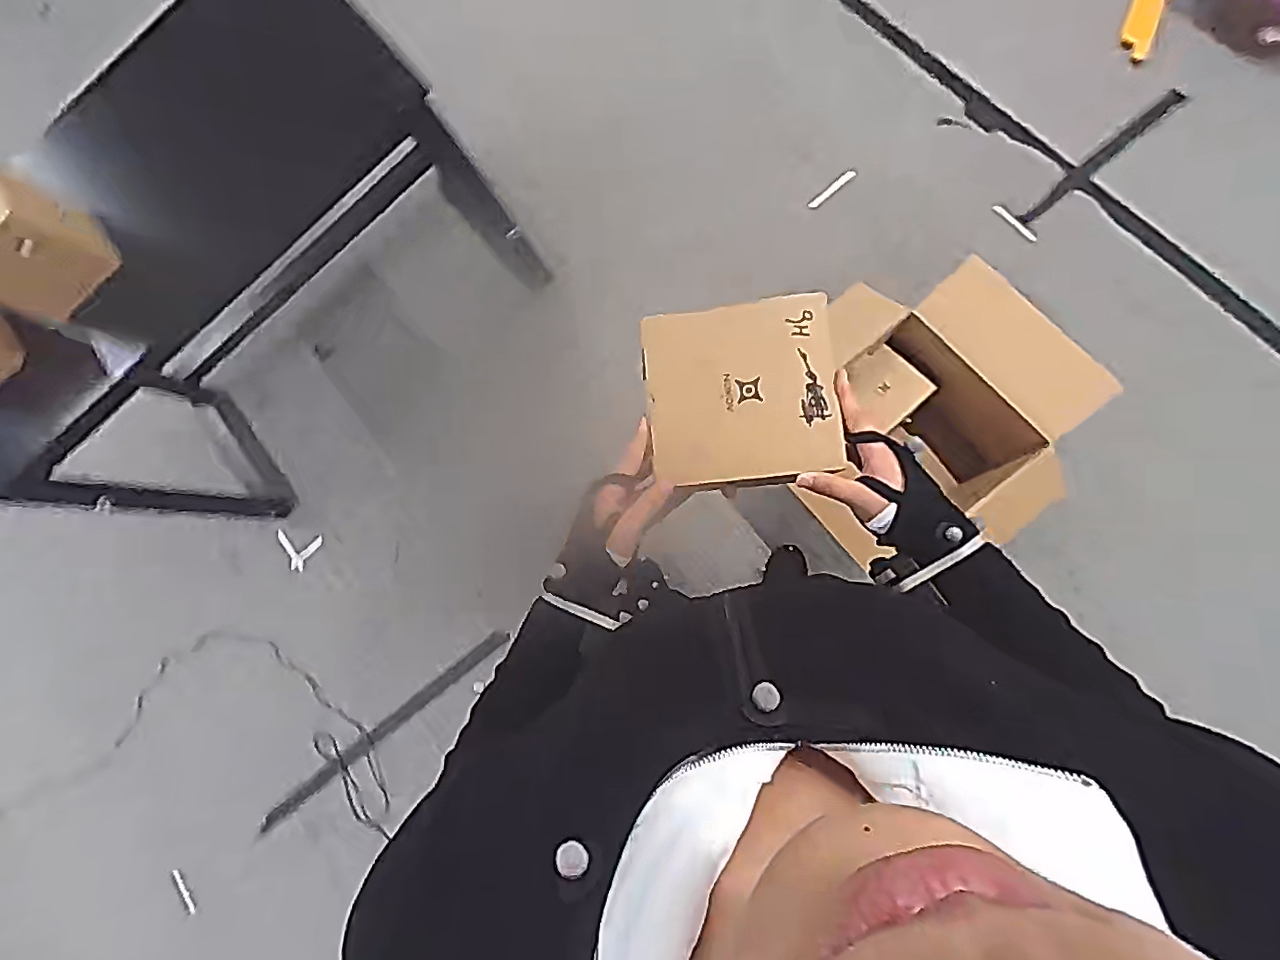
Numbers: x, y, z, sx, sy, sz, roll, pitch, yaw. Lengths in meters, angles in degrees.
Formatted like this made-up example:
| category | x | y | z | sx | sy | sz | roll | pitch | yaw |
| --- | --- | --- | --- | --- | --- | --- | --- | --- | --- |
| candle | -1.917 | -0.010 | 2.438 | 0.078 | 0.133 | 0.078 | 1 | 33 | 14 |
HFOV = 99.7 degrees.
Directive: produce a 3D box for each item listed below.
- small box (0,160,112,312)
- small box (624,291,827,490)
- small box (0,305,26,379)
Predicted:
| category | x | y | z | sx | sy | sz | roll | pitch | yaw |
| --- | --- | --- | --- | --- | --- | --- | --- | --- | --- |
| small box | -1.135 | -0.449 | 0.996 | 0.179 | 0.176 | 0.168 | -41 | 78 | 3 |
| small box | 0.089 | -0.080 | 0.581 | 0.179 | 0.176 | 0.168 | -6 | 86 | 8 |
| small box | -1.338 | -0.275 | 1.012 | 0.168 | 0.176 | 0.179 | -42 | 79 | 3 |
